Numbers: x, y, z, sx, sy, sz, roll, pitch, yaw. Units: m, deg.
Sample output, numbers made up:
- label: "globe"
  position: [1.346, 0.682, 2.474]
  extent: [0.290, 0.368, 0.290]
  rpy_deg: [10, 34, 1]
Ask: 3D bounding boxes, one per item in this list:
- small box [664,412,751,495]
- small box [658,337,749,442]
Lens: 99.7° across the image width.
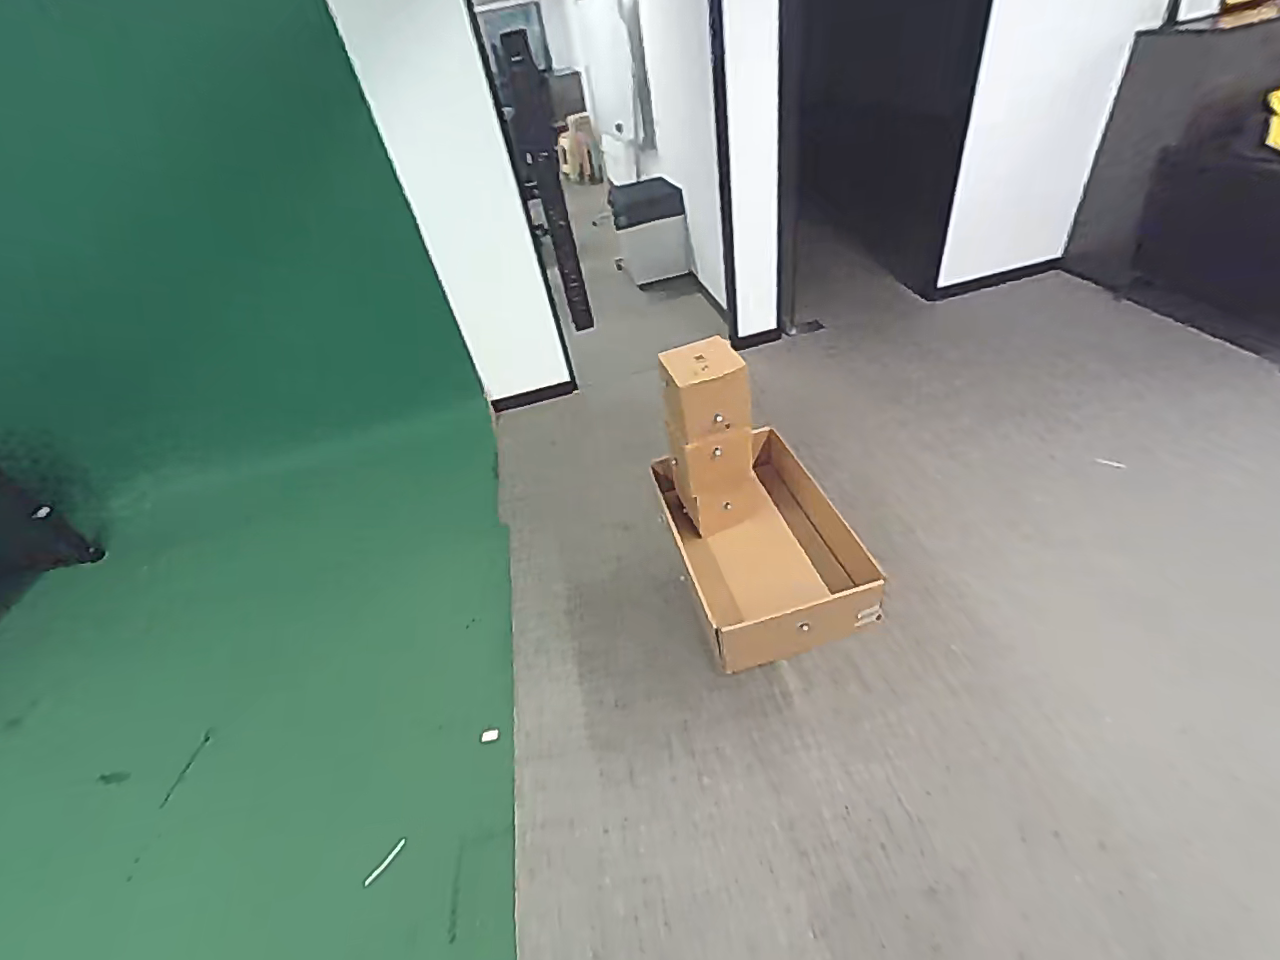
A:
- label: "small box"
  position: [0.180, -0.090, 1.420]
  extent: [0.179, 0.176, 0.168]
  rpy_deg: [-20, 41, -7]
- label: "small box"
  position: [0.155, -0.220, 1.321]
  extent: [0.168, 0.176, 0.179]
  rpy_deg: [-19, 42, -5]
